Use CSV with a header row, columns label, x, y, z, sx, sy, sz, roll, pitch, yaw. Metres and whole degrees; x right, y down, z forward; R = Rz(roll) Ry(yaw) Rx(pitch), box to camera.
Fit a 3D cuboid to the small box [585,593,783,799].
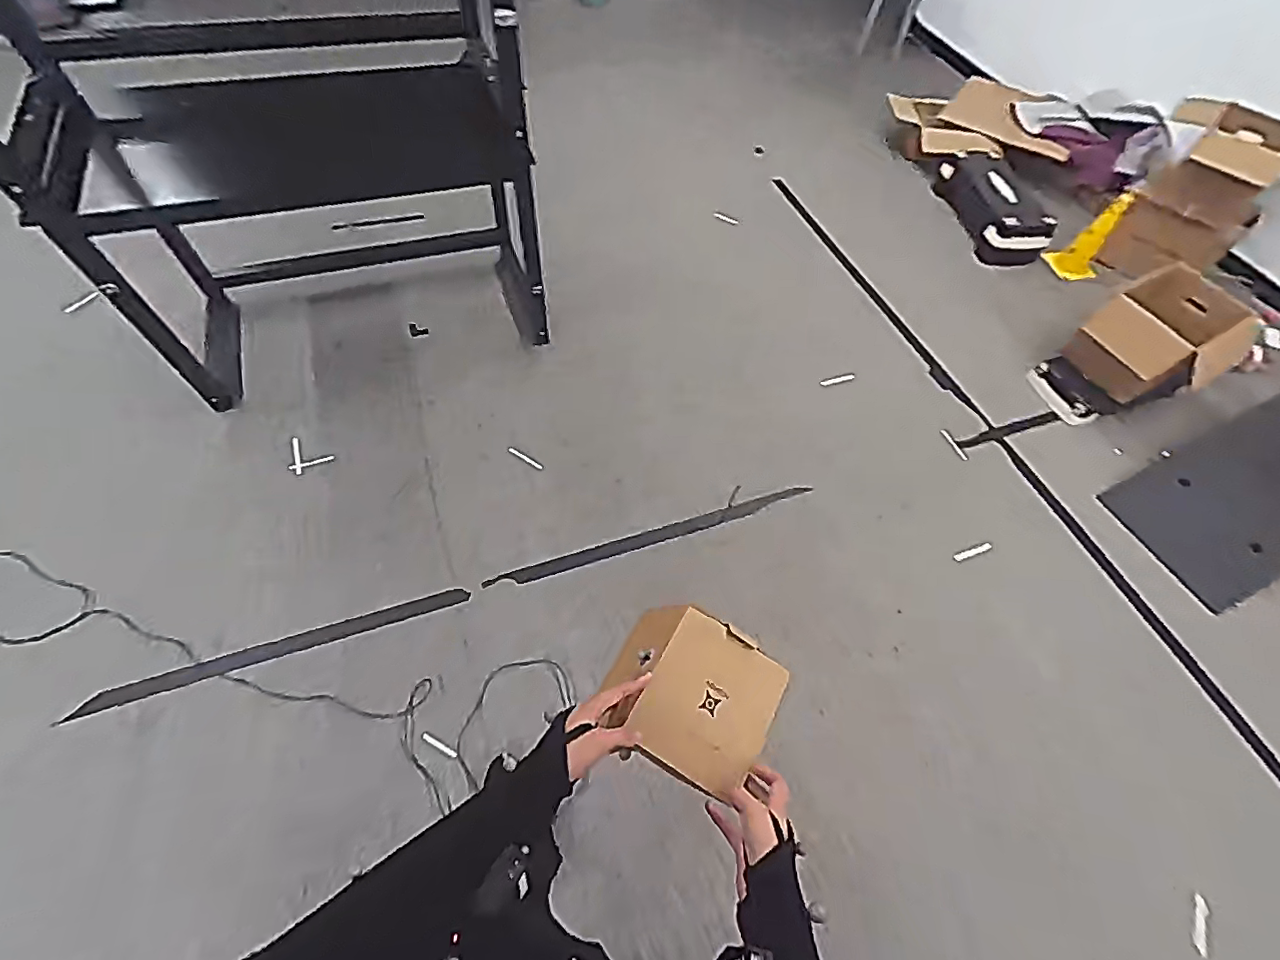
label,x,y,z,sx,sy,sz,roll,pitch,yaw
small box,0.049,0.273,0.709,0.168,0.176,0.179,36,63,-7
